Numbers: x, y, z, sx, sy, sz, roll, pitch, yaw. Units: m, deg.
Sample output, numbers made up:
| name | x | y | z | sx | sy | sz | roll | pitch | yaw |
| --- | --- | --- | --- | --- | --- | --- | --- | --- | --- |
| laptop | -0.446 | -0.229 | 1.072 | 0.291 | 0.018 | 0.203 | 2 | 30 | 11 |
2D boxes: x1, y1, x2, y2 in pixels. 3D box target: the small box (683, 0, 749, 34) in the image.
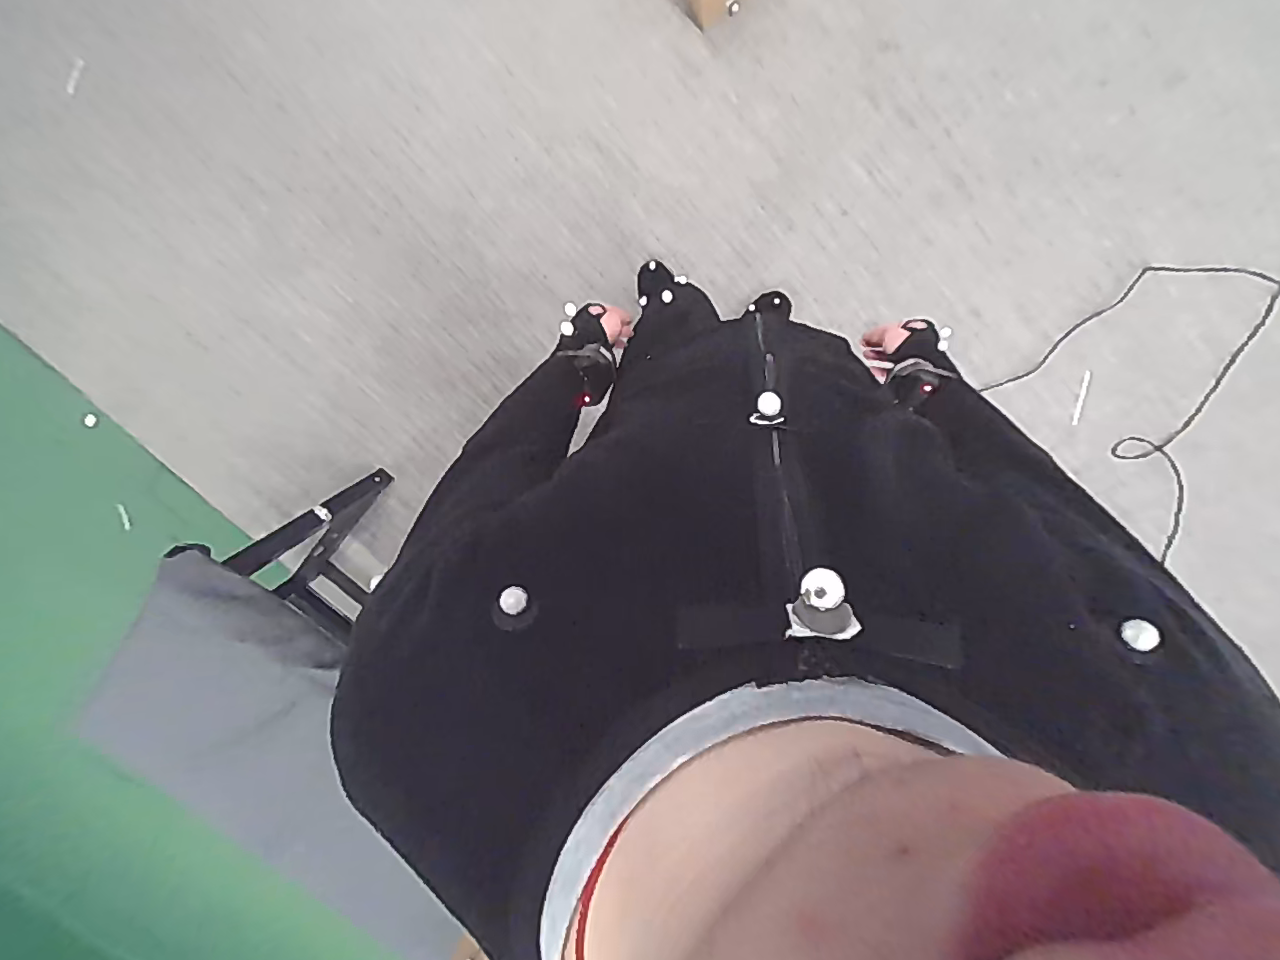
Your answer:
| name | x | y | z | sx | sy | sz | roll | pitch | yaw |
| --- | --- | --- | --- | --- | --- | --- | --- | --- | --- |
| small box | 0.151 | -1.089 | 1.120 | 0.168 | 0.176 | 0.179 | -30 | 105 | 20 |
